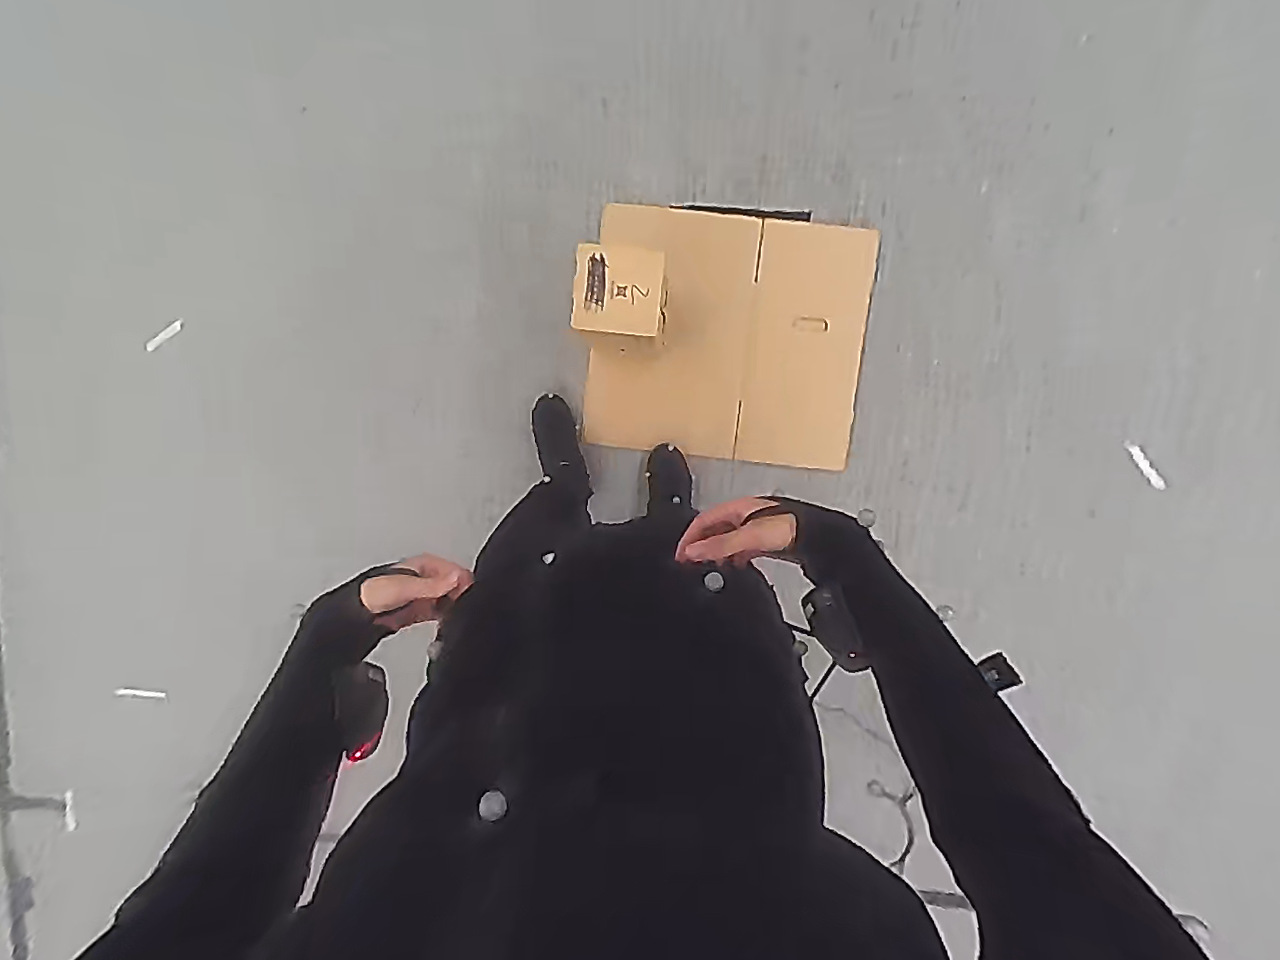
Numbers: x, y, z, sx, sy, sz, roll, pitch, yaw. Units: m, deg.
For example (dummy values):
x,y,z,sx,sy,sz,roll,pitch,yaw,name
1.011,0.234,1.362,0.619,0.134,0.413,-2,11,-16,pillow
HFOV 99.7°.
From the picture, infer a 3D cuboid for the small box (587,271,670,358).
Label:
x,y,z,sx,sy,sz,roll,pitch,yaw,name
-0.024,-0.392,1.309,0.179,0.176,0.168,6,97,1,small box
